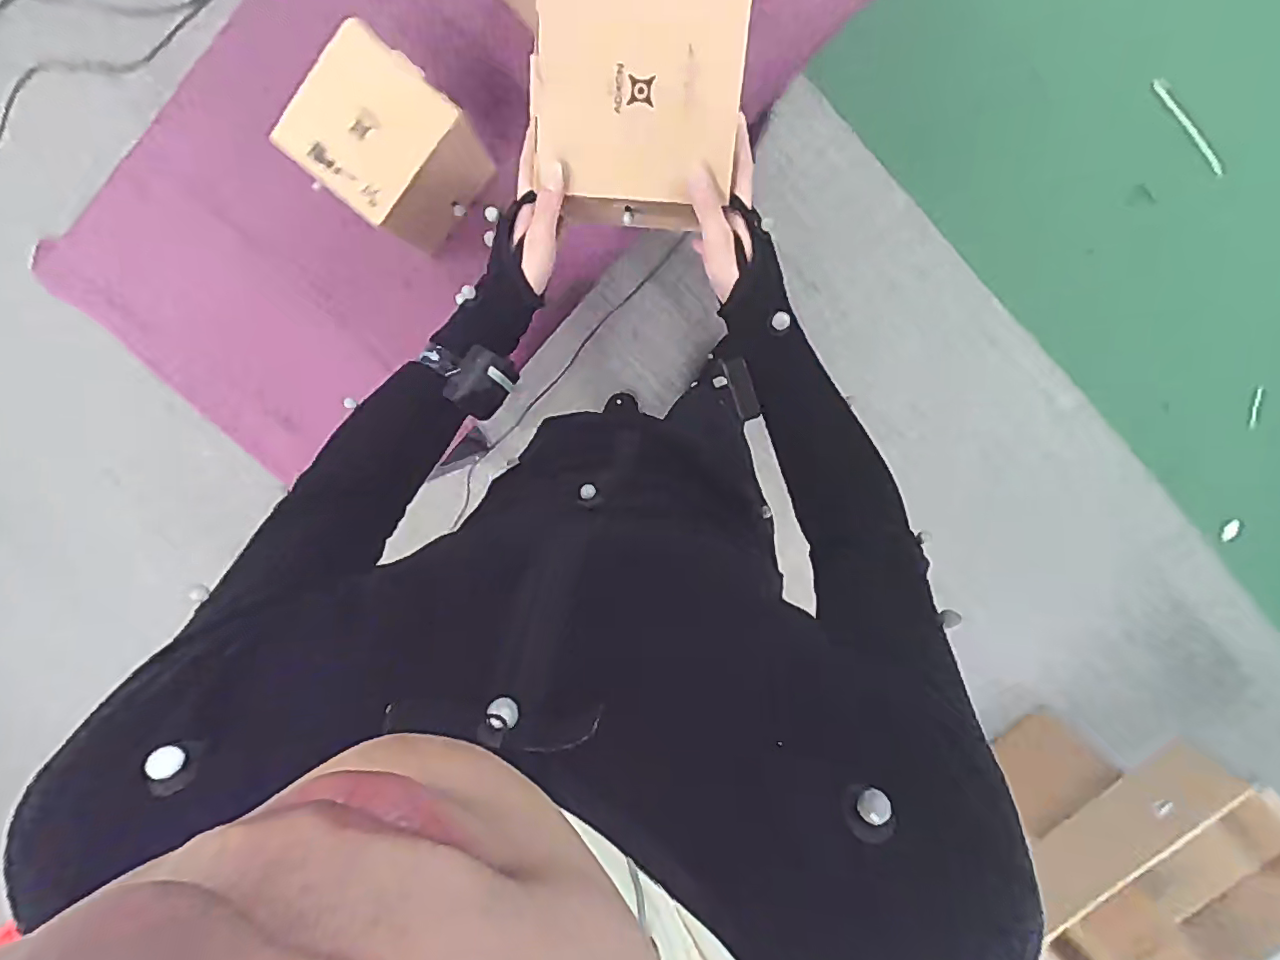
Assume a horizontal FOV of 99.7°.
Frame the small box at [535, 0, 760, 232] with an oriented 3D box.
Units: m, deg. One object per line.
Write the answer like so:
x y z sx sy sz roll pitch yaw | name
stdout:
0.008 -0.347 0.526 0.179 0.176 0.168 7 108 3 | small box

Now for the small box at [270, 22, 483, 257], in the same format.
-0.337 -0.441 0.736 0.168 0.176 0.179 40 97 -5 | small box
